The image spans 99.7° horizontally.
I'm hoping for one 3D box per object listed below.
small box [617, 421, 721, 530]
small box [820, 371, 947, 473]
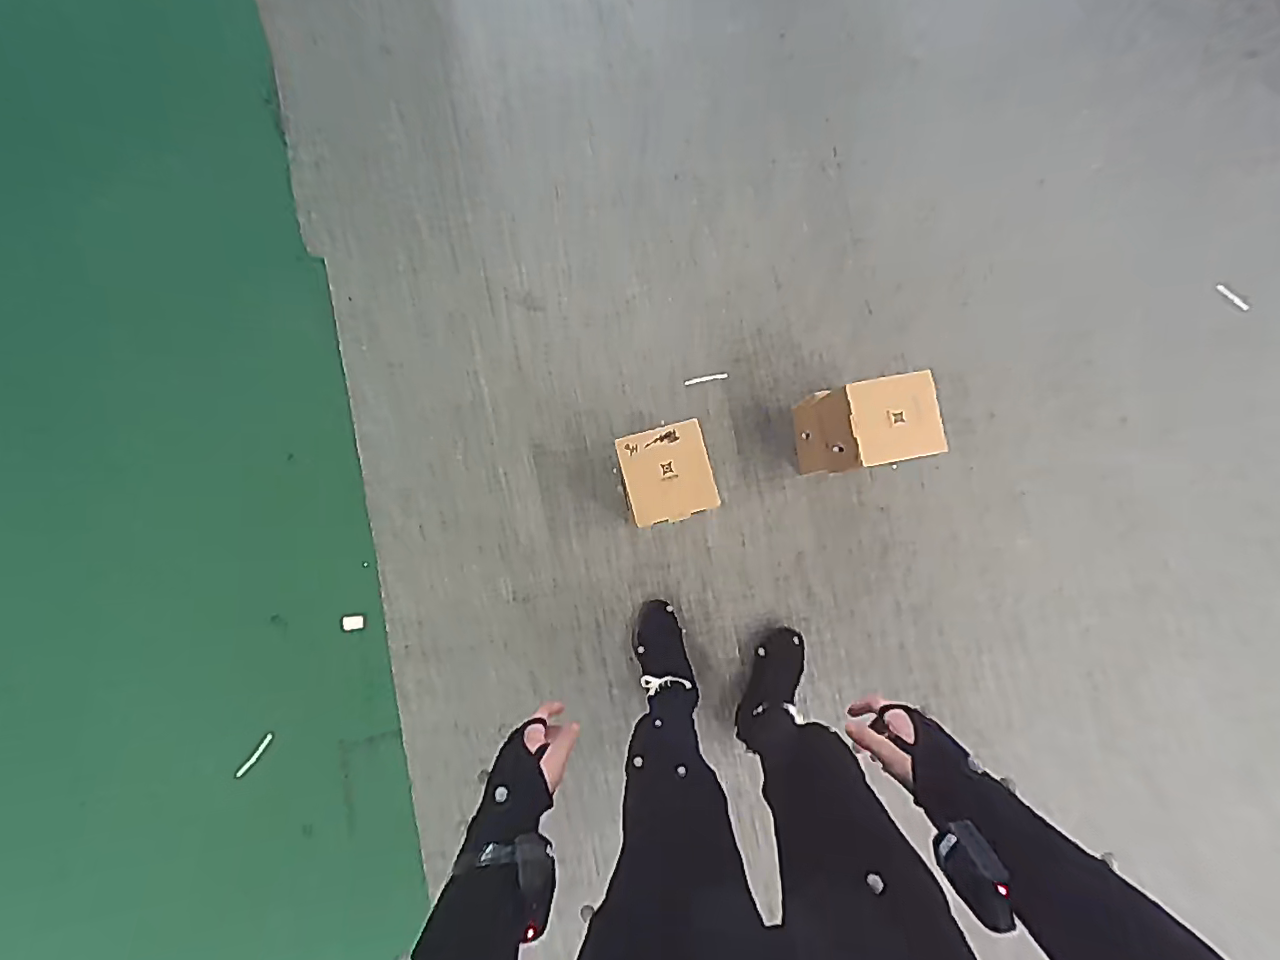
[{"bbox_3d":[0.053,-0.006,1.098,0.168,0.176,0.179,-15,87,-4],"label":"small box"},{"bbox_3d":[0.490,-0.113,1.121,0.179,0.176,0.168,-10,87,-4],"label":"small box"}]
